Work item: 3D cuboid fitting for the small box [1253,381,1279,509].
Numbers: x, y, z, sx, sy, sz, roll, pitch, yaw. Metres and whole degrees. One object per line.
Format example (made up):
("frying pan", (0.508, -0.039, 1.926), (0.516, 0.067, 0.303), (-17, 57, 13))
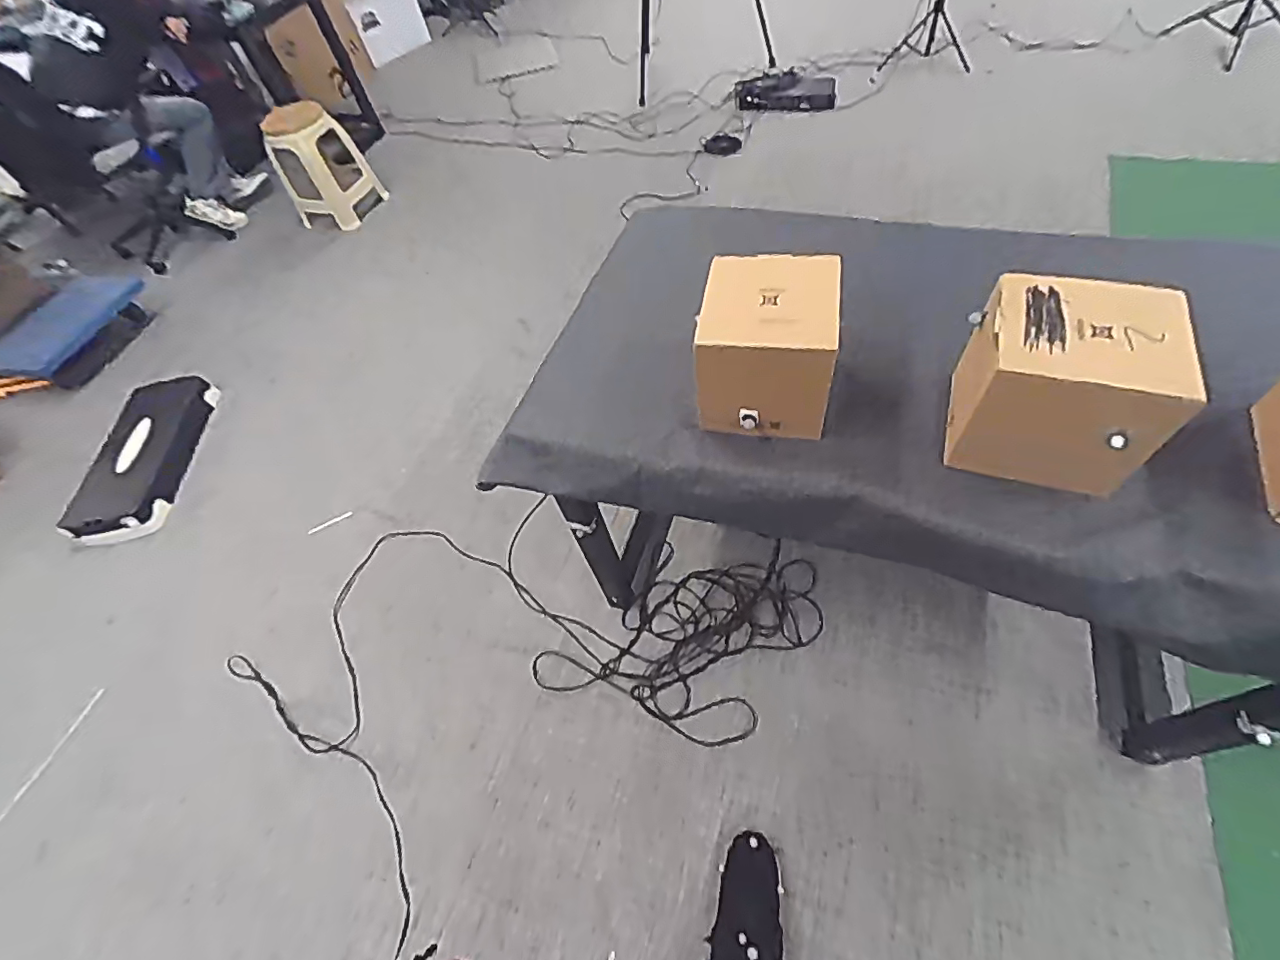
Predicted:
("small box", (0.781, -0.054, 0.538), (0.168, 0.176, 0.179), (15, 60, 19))

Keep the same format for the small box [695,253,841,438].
("small box", (0.171, -0.180, 0.728), (0.168, 0.176, 0.179), (5, 58, 14))
